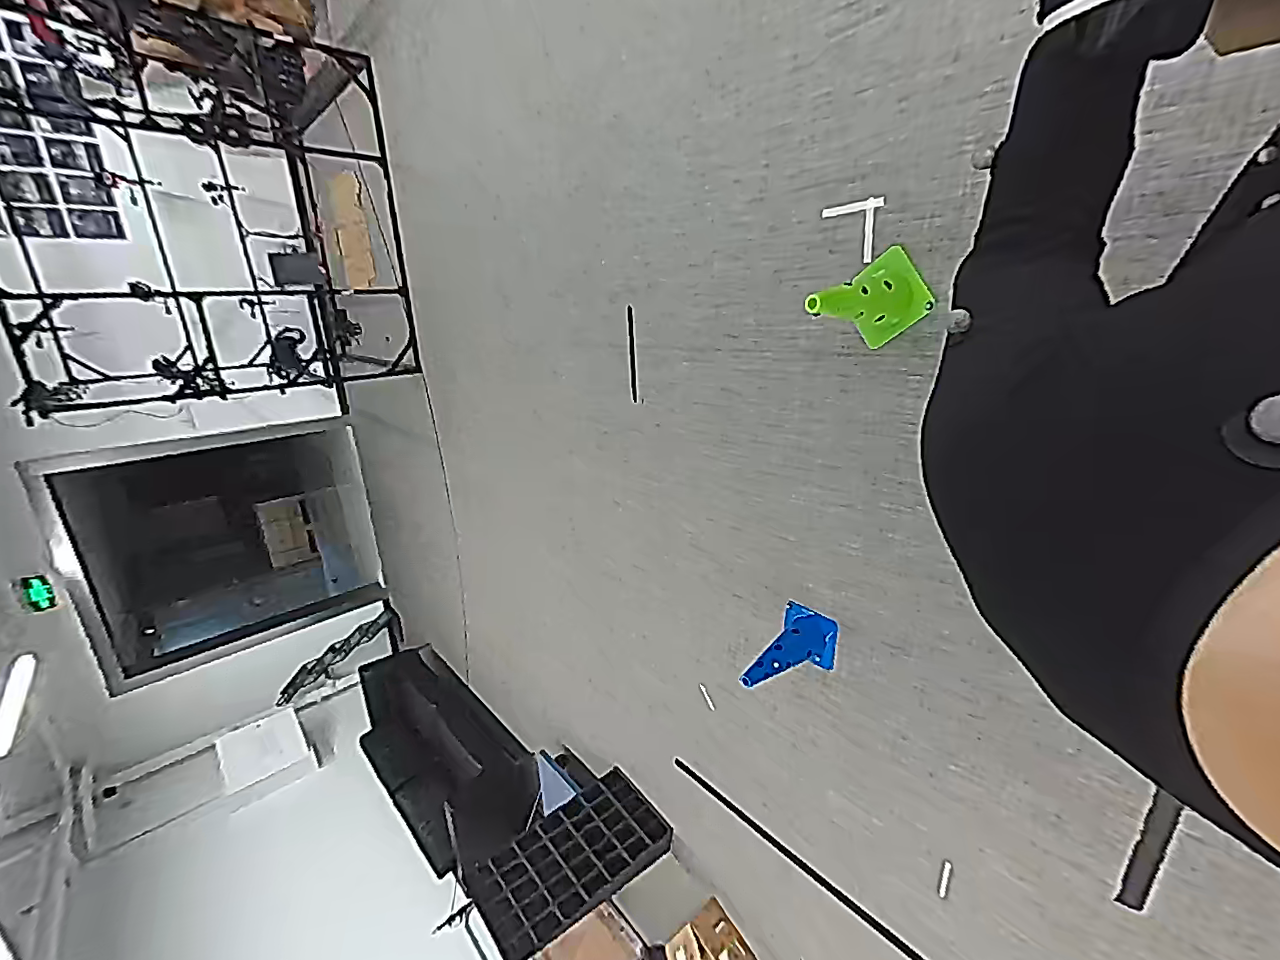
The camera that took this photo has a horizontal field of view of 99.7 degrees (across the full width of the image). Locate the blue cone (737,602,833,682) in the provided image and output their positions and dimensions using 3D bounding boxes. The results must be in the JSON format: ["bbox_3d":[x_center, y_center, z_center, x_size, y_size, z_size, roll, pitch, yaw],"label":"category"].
[{"bbox_3d":[0.467,0.579,1.806,0.192,0.380,0.193,23,120,45],"label":"blue cone"}]

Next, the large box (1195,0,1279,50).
[{"bbox_3d":[0.547,-0.456,0.225,0.408,0.320,0.320,16,122,45],"label":"large box"}]

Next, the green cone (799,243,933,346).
[{"bbox_3d":[0.516,-0.447,1.330,0.202,0.368,0.200,-40,72,51],"label":"green cone"}]
